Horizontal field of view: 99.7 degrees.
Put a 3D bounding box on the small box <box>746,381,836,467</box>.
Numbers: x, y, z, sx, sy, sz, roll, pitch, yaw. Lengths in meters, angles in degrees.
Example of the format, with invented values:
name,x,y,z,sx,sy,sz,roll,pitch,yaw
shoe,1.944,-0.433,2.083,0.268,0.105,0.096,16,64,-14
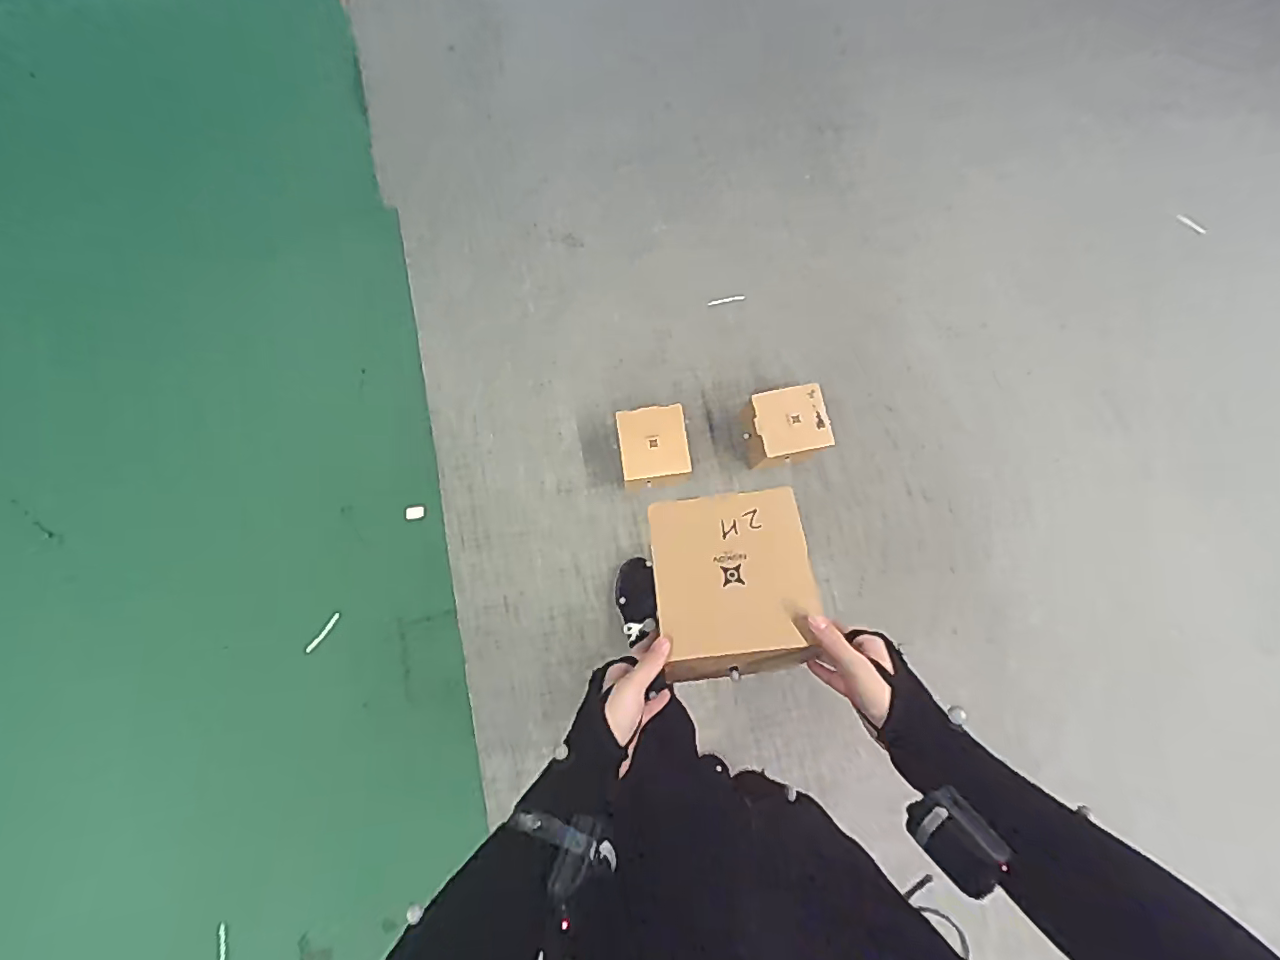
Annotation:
name,x,y,z,sx,sy,sz,roll,pitch,yaw
small box,0.380,-0.138,1.401,0.179,0.176,0.168,-11,81,-2

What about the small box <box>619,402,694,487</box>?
name,x,y,z,sx,sy,sz,roll,pitch,yaw
small box,0.042,-0.083,1.394,0.168,0.176,0.179,-8,79,-1

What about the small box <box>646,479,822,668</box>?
name,x,y,z,sx,sy,sz,roll,pitch,yaw
small box,0.101,0.120,0.644,0.168,0.176,0.179,-7,62,2
